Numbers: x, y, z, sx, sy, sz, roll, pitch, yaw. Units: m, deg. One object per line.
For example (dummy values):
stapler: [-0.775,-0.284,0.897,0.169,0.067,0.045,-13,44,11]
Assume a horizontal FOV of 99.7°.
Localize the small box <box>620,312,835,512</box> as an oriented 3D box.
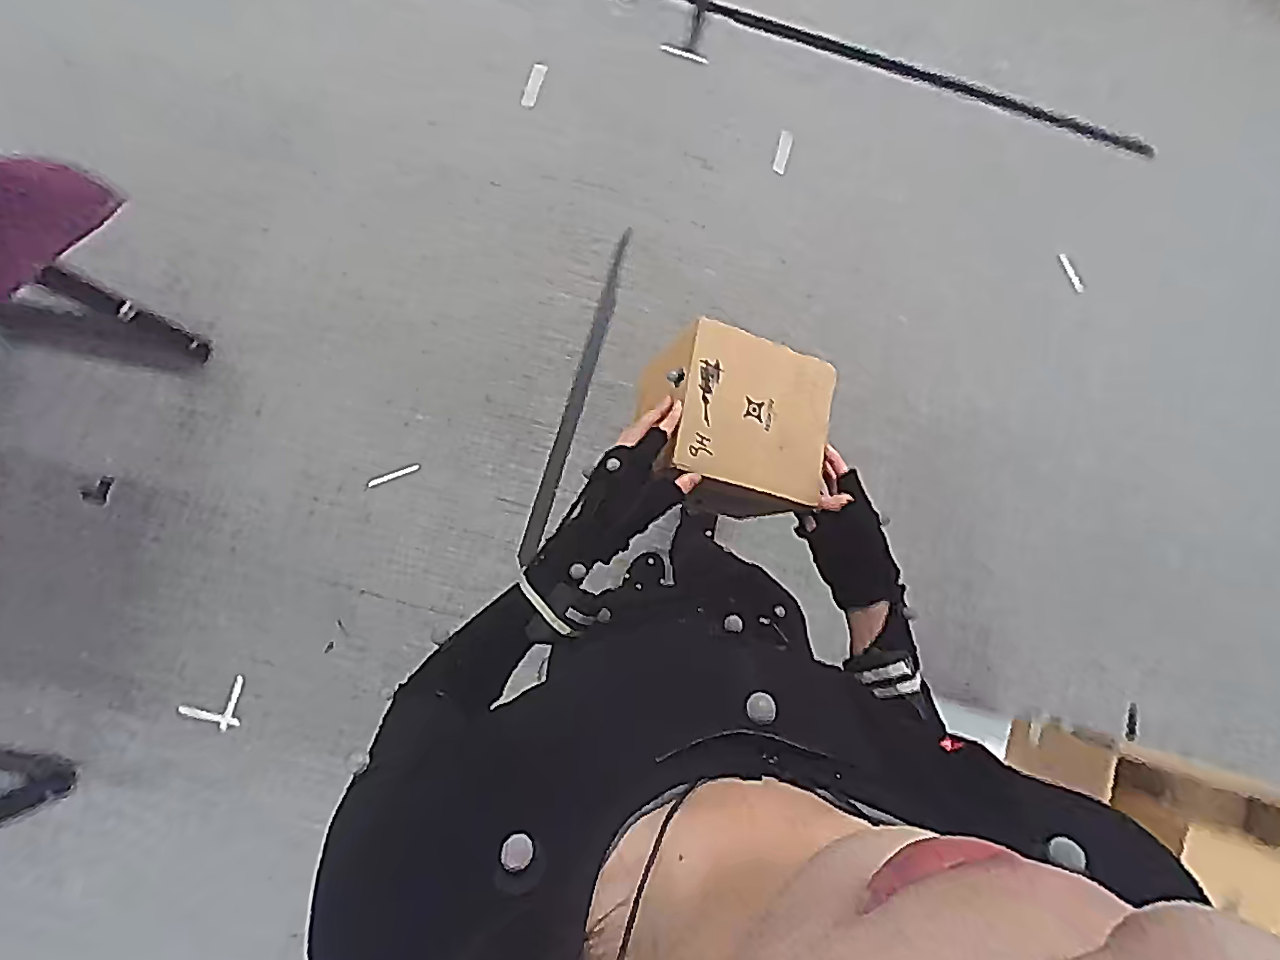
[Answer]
small box: [0.095,-0.062,0.633,0.179,0.176,0.168,15,76,-17]
